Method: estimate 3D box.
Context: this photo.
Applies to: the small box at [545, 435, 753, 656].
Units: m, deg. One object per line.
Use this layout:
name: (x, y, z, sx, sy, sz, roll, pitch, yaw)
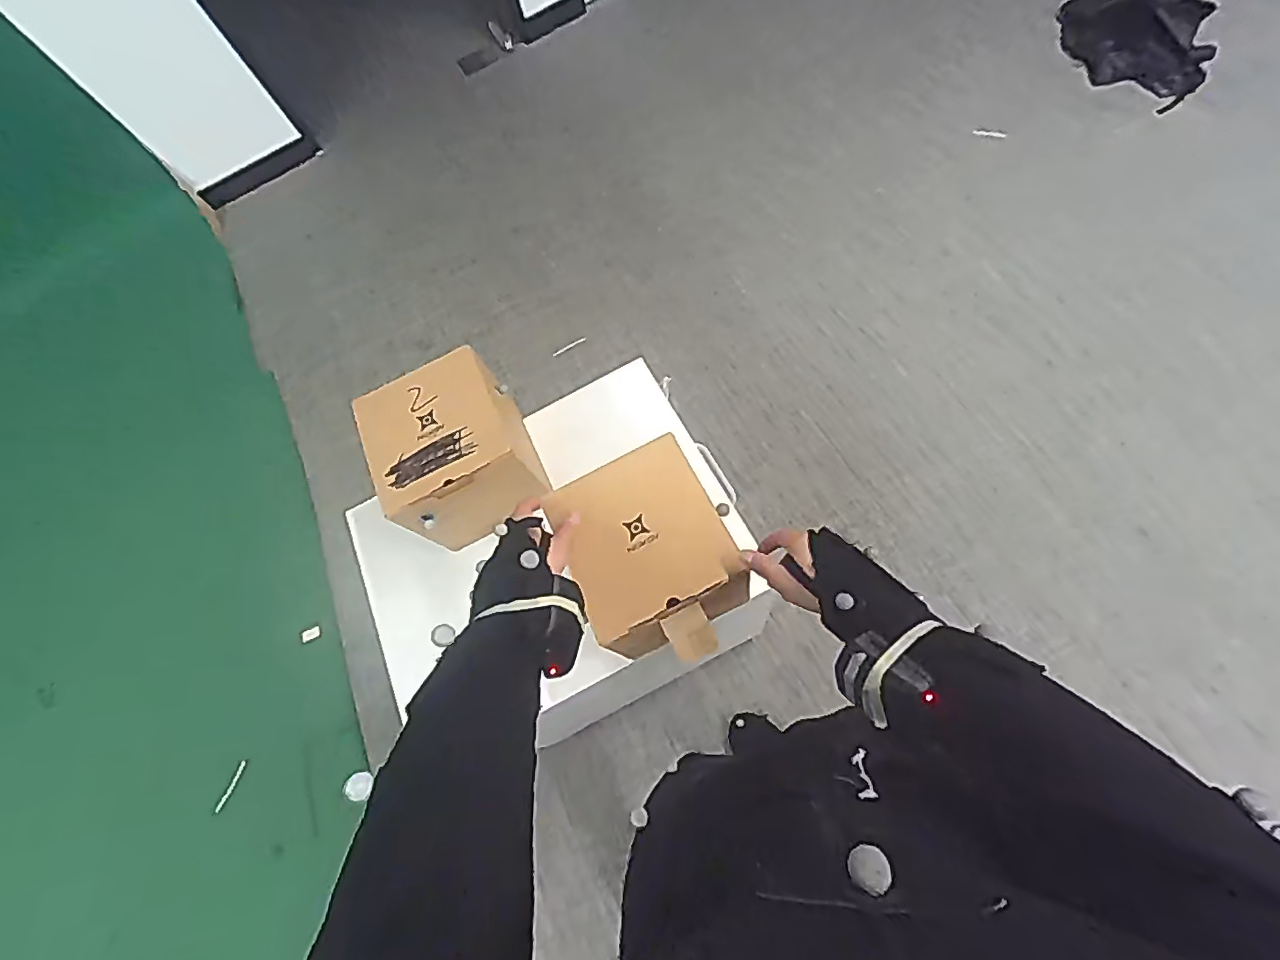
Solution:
small box: (0.015, 0.085, 0.626, 0.168, 0.176, 0.179, -27, 65, -1)
